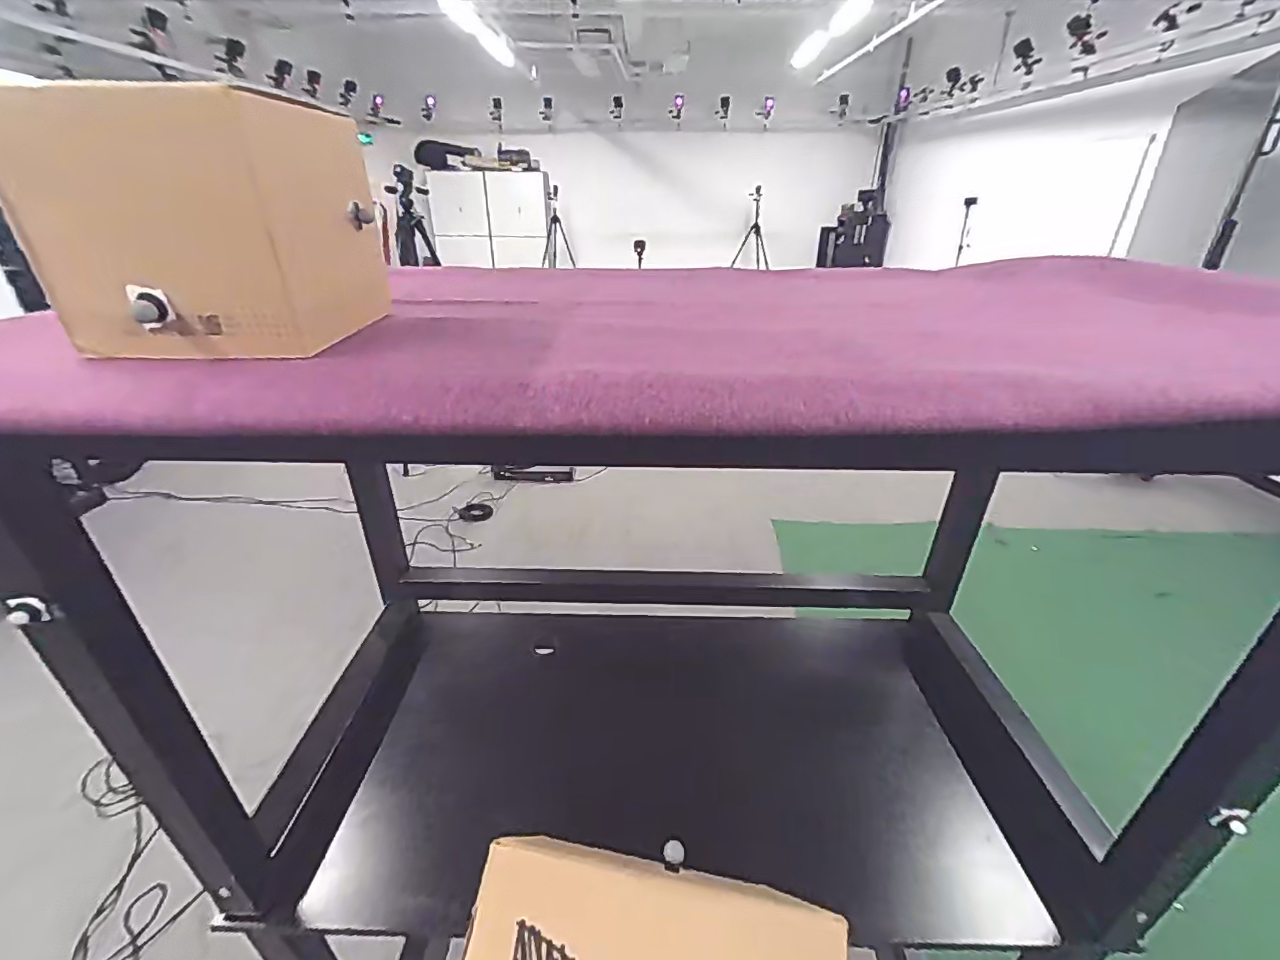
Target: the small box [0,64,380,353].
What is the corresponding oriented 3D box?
[{"bbox_3d":[-0.326,-0.204,0.422,0.168,0.176,0.179,-2,29,-2],"label":"small box"}]
